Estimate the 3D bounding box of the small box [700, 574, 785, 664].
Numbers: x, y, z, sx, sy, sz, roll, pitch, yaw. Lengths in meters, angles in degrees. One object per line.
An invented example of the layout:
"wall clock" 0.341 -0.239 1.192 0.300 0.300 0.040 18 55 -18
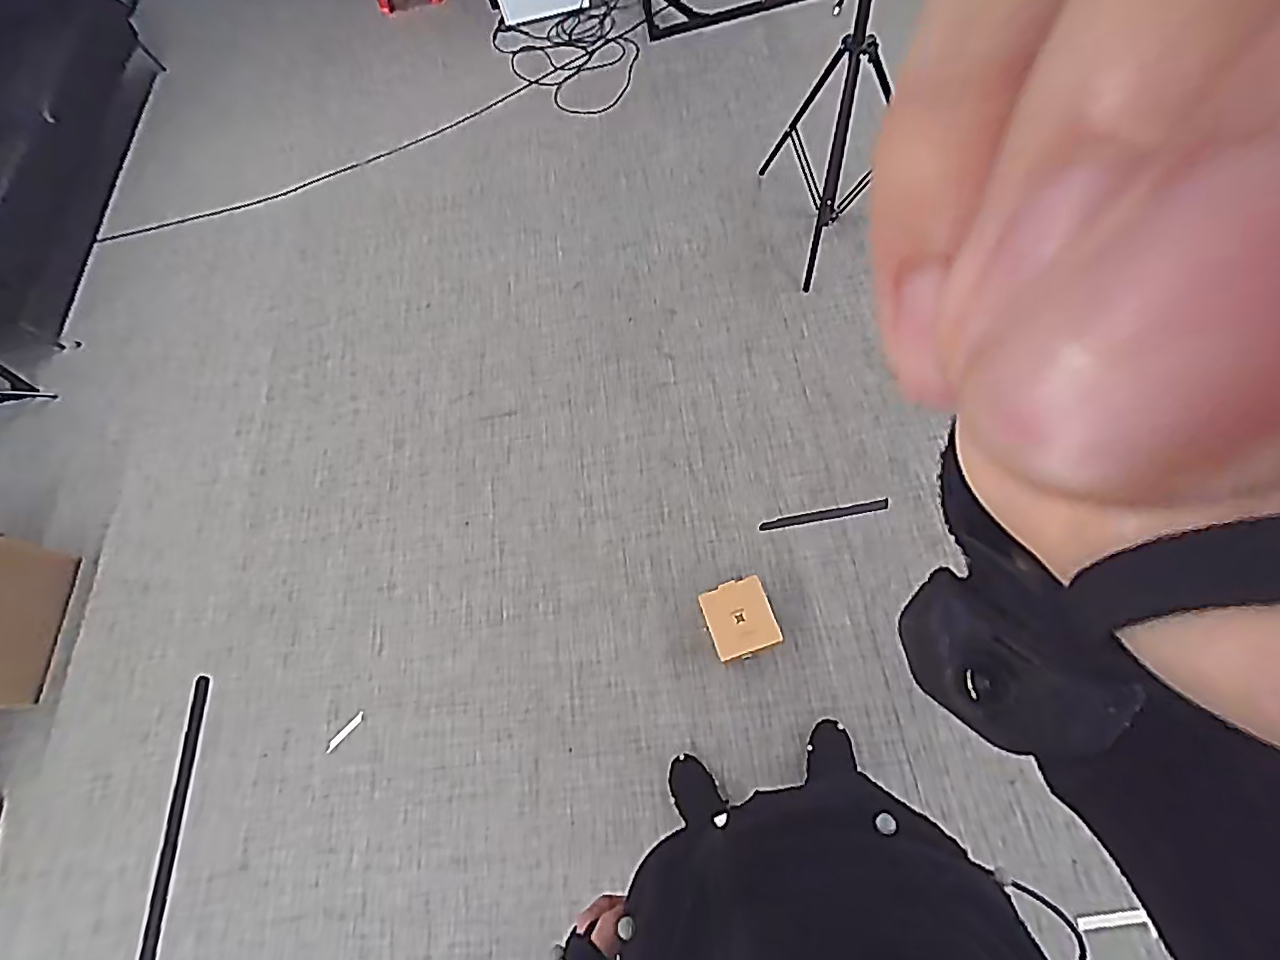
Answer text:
"small box" 0.266 0.370 1.421 0.168 0.176 0.179 -20 66 3
